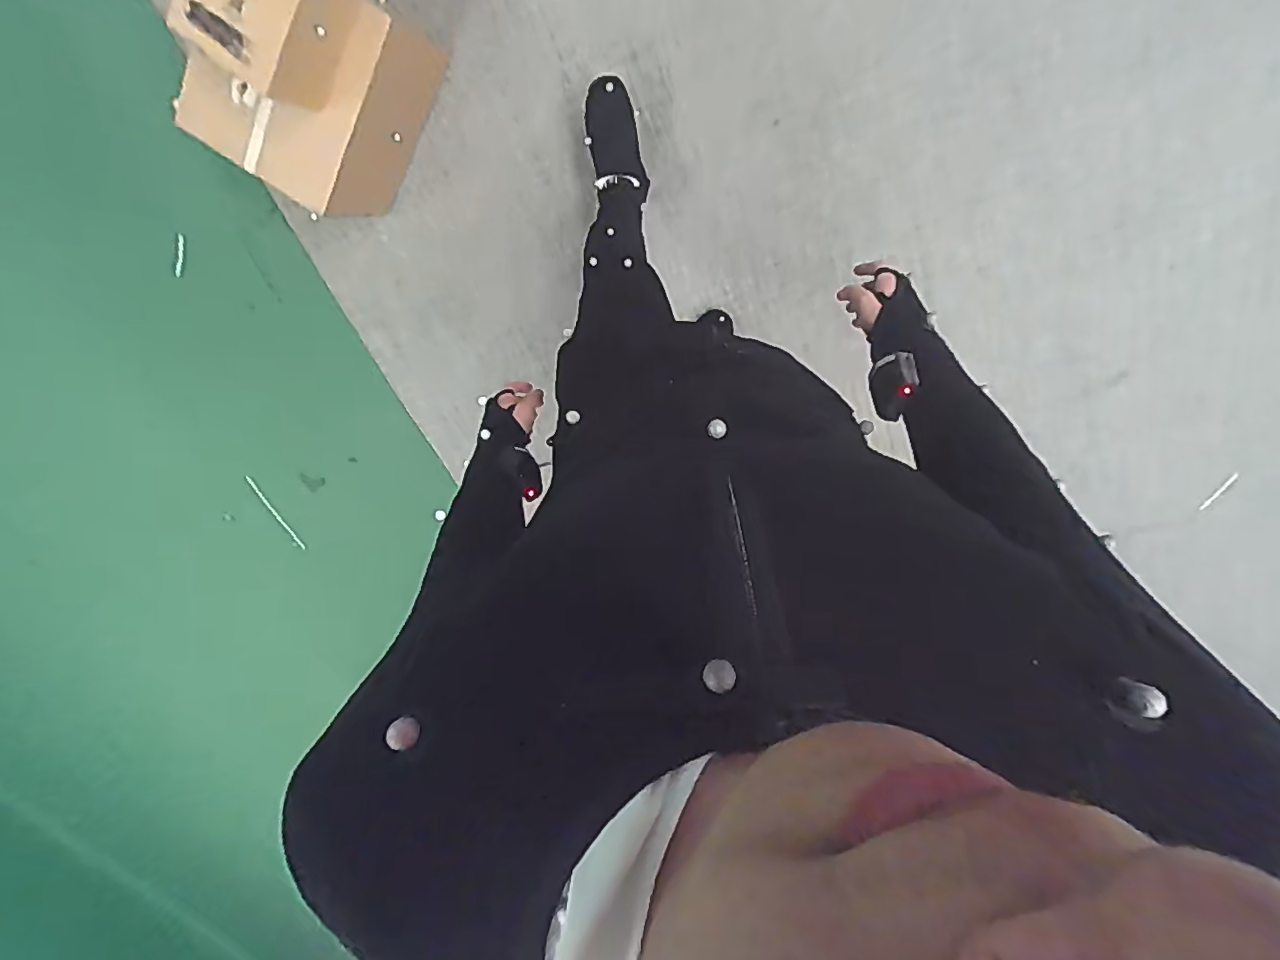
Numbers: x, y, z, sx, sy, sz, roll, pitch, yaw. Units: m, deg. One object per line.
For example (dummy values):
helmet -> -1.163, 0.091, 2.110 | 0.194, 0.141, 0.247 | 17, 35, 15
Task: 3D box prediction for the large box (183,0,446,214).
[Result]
large box -> -0.678, -0.855, 1.162 | 0.320, 0.320, 0.408 | 32, 116, -12
